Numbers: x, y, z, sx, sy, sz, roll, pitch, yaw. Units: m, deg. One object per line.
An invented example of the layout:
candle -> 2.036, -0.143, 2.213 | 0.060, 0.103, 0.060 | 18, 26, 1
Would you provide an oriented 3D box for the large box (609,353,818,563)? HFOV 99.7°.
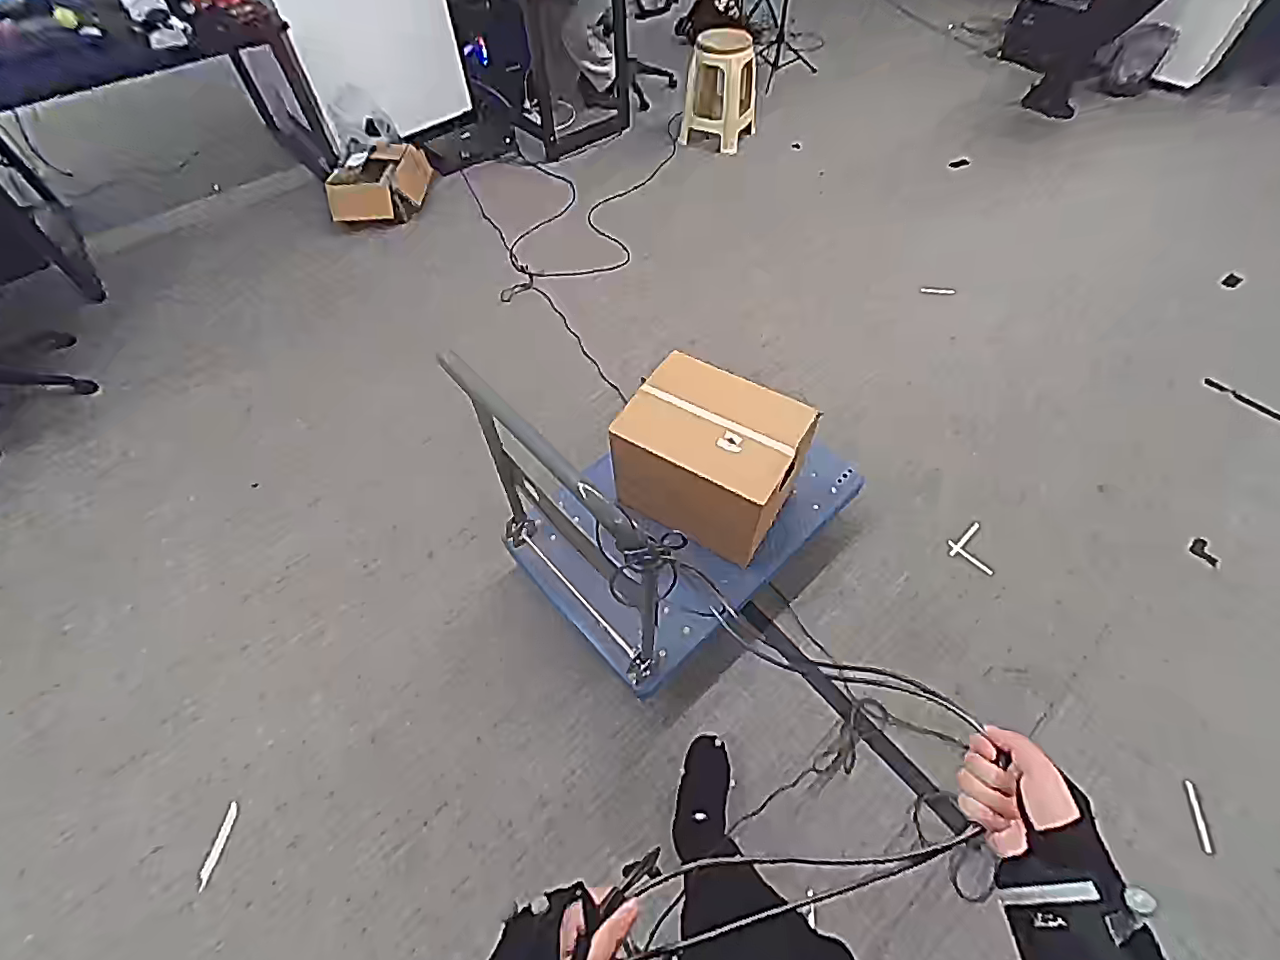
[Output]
large box -> 0.173, -0.055, 1.378 | 0.408, 0.320, 0.320 | 27, 62, 18
